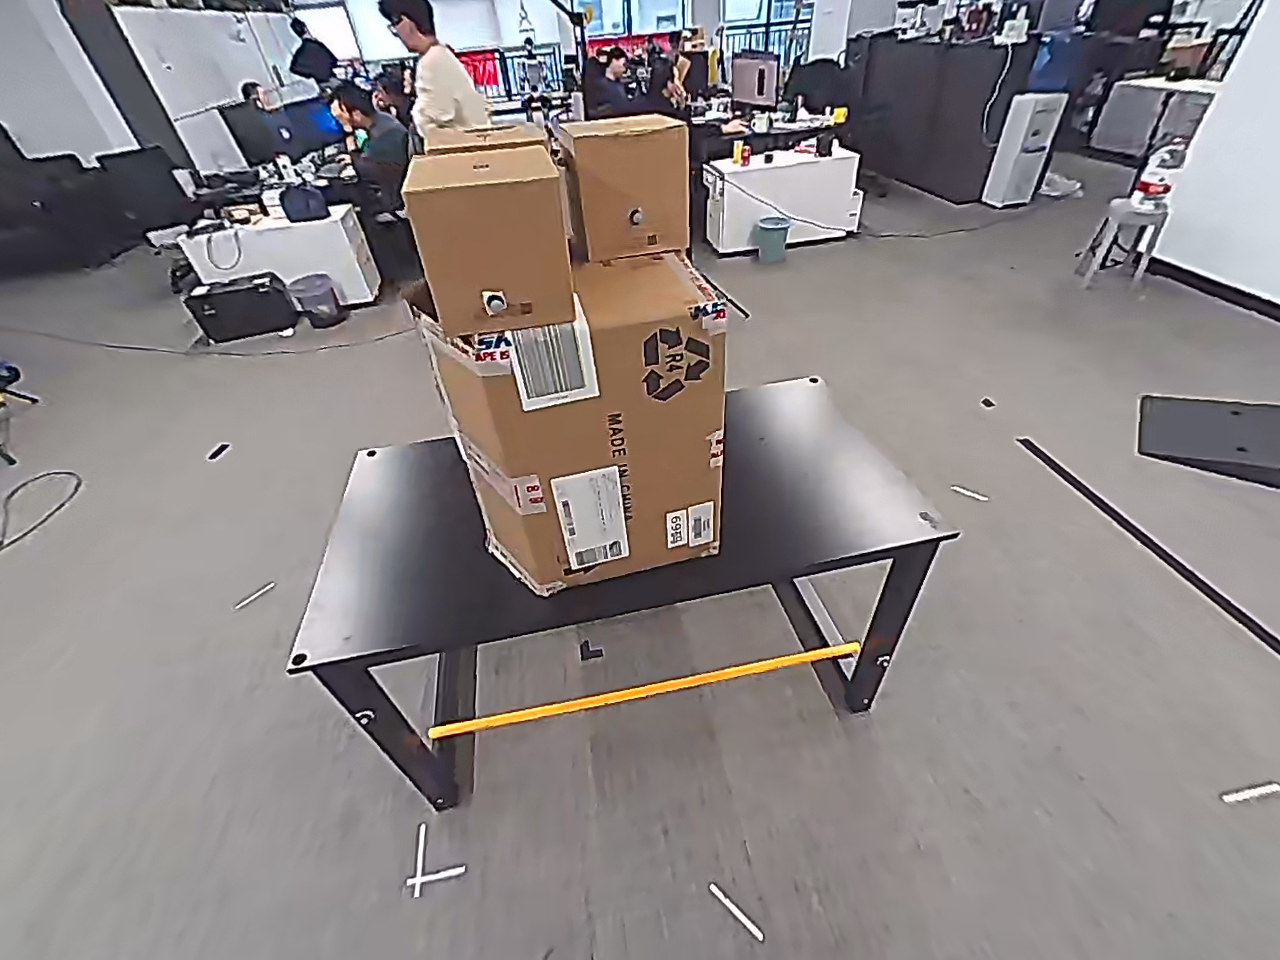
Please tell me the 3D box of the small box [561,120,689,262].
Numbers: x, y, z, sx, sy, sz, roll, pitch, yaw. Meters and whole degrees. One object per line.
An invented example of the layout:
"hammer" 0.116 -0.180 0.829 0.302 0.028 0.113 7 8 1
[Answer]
"small box" -0.025 -0.462 0.863 0.168 0.176 0.179 -12 39 -8

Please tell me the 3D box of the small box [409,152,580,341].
"small box" -0.176 -0.295 0.680 0.168 0.176 0.179 -12 43 -9
